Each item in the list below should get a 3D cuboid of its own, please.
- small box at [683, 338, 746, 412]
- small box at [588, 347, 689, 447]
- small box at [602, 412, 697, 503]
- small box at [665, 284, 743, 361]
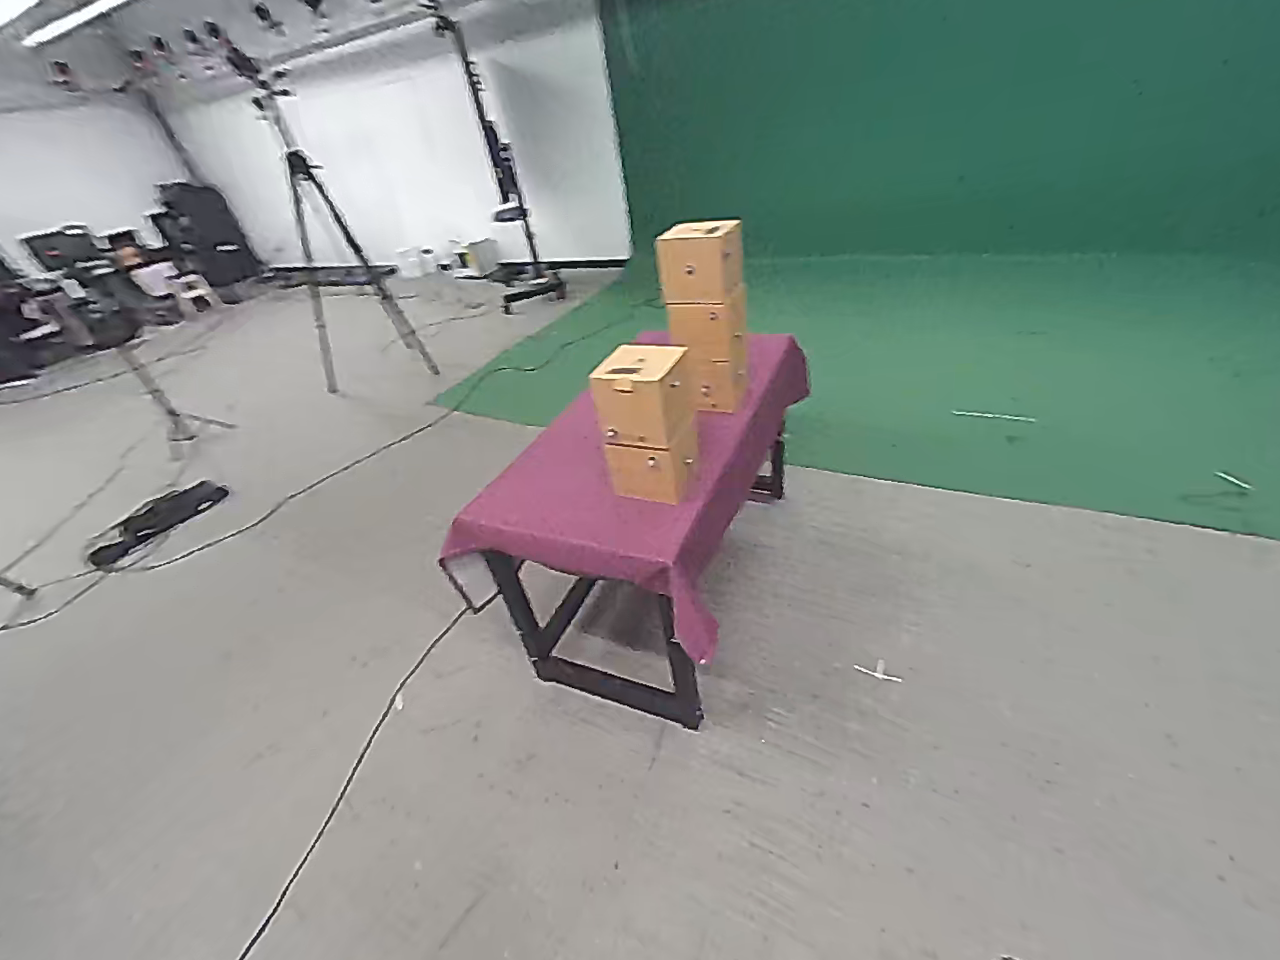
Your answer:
[{"bbox_3d":[0.223,-0.322,1.647,0.168,0.176,0.179,8,40,24],"label":"small box"},{"bbox_3d":[0.007,-0.192,1.241,0.168,0.176,0.179,8,39,24],"label":"small box"},{"bbox_3d":[0.032,-0.061,1.338,0.179,0.176,0.168,8,39,25],"label":"small box"},{"bbox_3d":[0.189,-0.451,1.554,0.179,0.176,0.168,9,40,25],"label":"small box"}]
